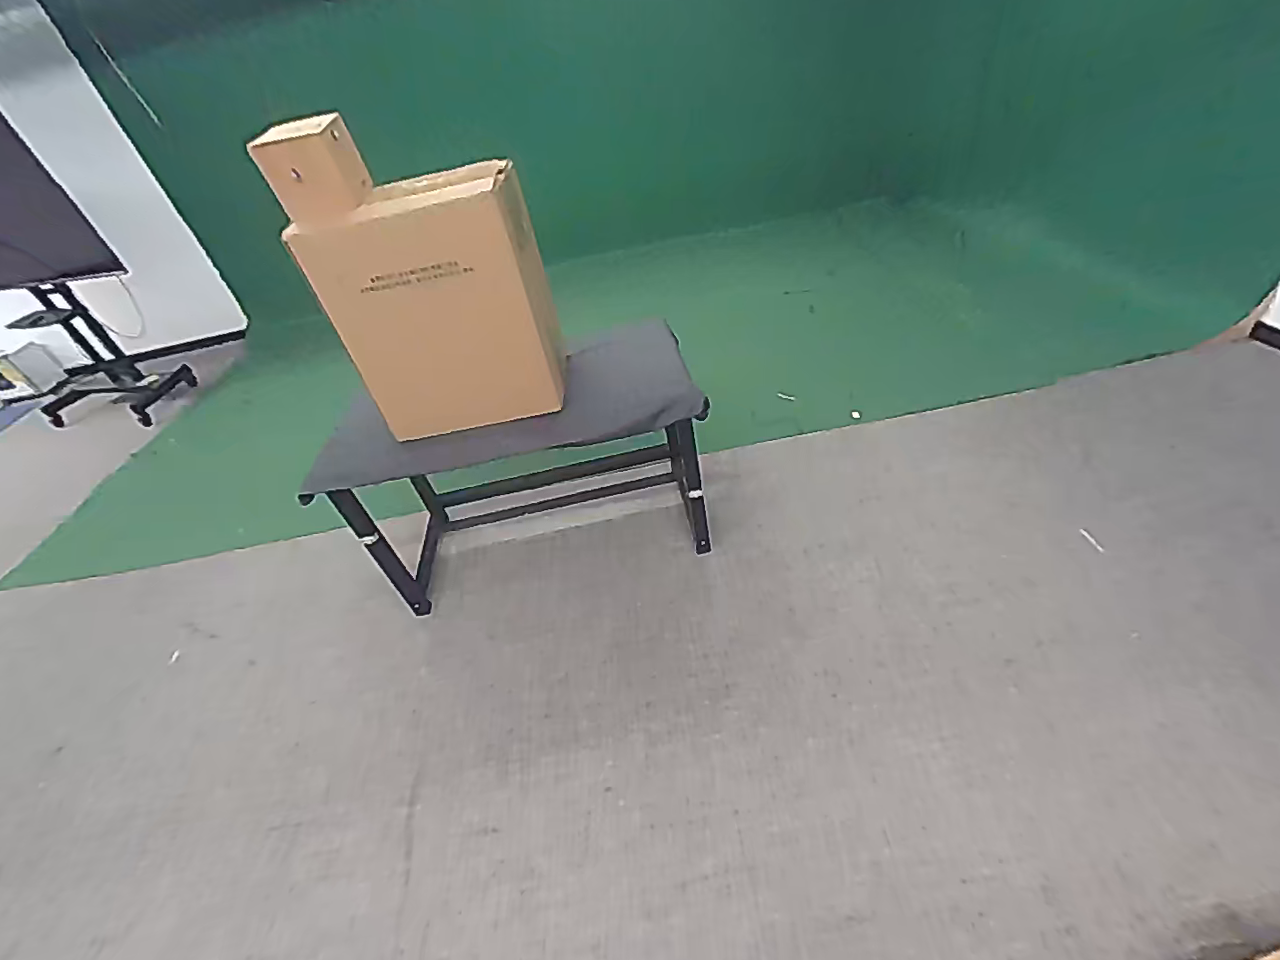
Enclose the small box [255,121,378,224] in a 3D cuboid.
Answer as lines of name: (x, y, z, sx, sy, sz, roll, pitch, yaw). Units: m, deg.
small box: (-0.792, -0.759, 1.344, 0.179, 0.176, 0.168, -11, 47, 4)
